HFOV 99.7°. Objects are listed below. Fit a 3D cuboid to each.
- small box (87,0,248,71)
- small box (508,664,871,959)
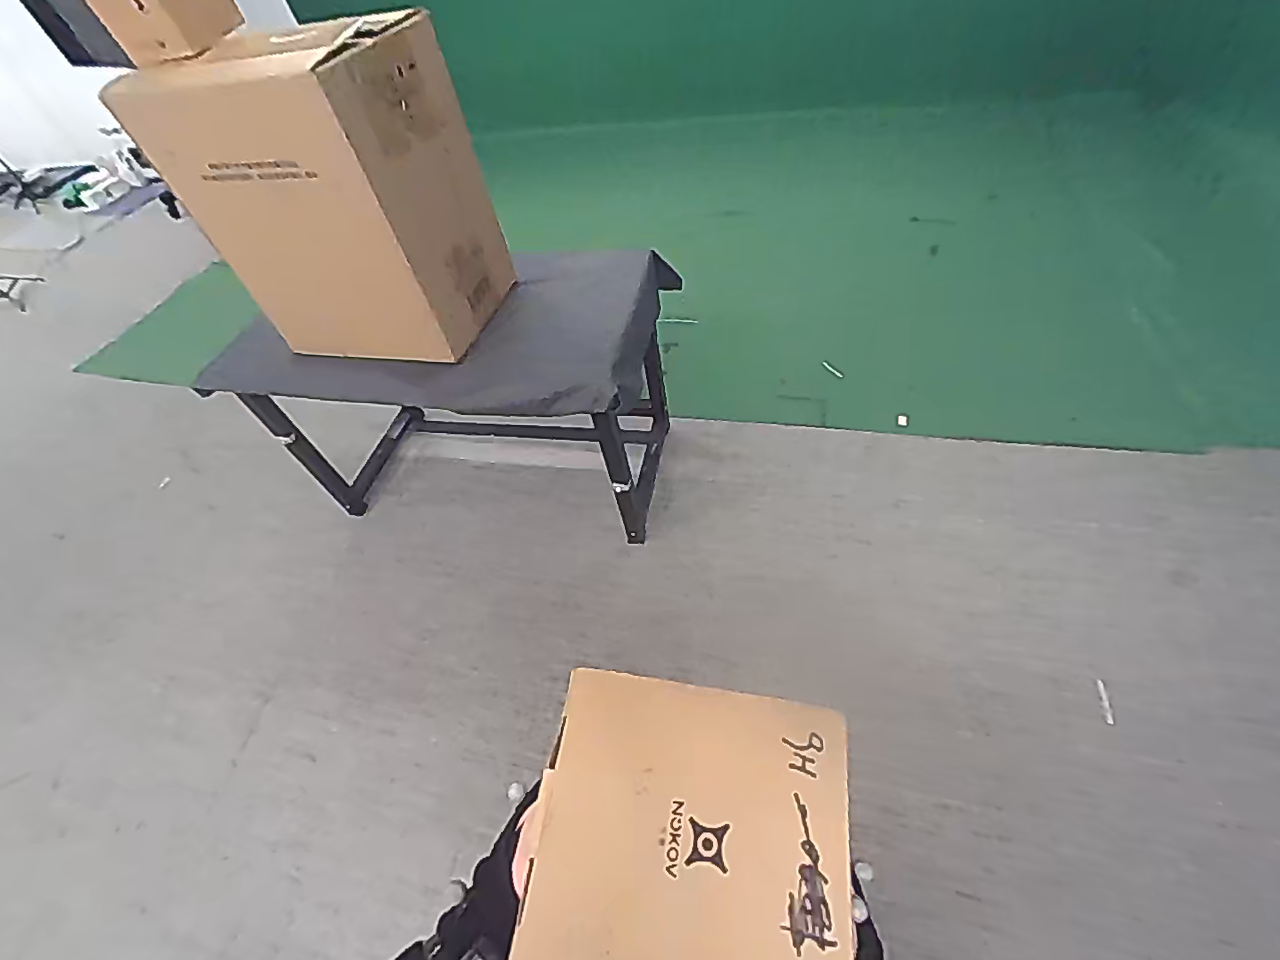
[{"bbox_3d":[-0.936,-0.934,1.068,0.168,0.176,0.179,5,54,13],"label":"small box"},{"bbox_3d":[0.033,0.238,0.355,0.179,0.176,0.168,8,57,5],"label":"small box"}]
